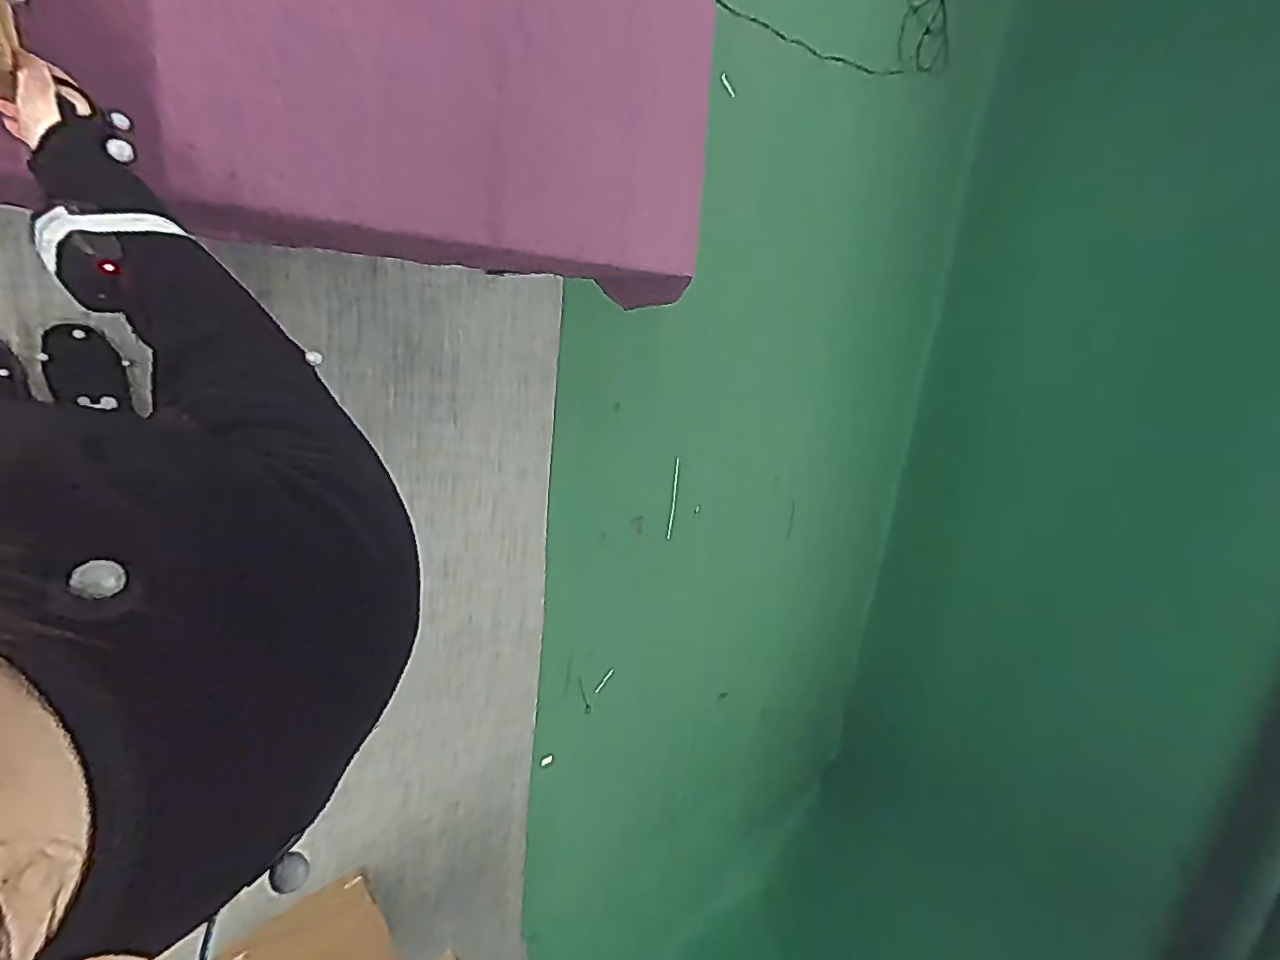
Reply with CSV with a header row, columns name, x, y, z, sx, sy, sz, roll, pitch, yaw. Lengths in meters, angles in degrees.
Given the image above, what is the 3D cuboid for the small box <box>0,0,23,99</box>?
name,x,y,z,sx,sy,sz,roll,pitch,yaw
small box,-0.545,-0.375,0.344,0.179,0.176,0.168,-12,111,-44
